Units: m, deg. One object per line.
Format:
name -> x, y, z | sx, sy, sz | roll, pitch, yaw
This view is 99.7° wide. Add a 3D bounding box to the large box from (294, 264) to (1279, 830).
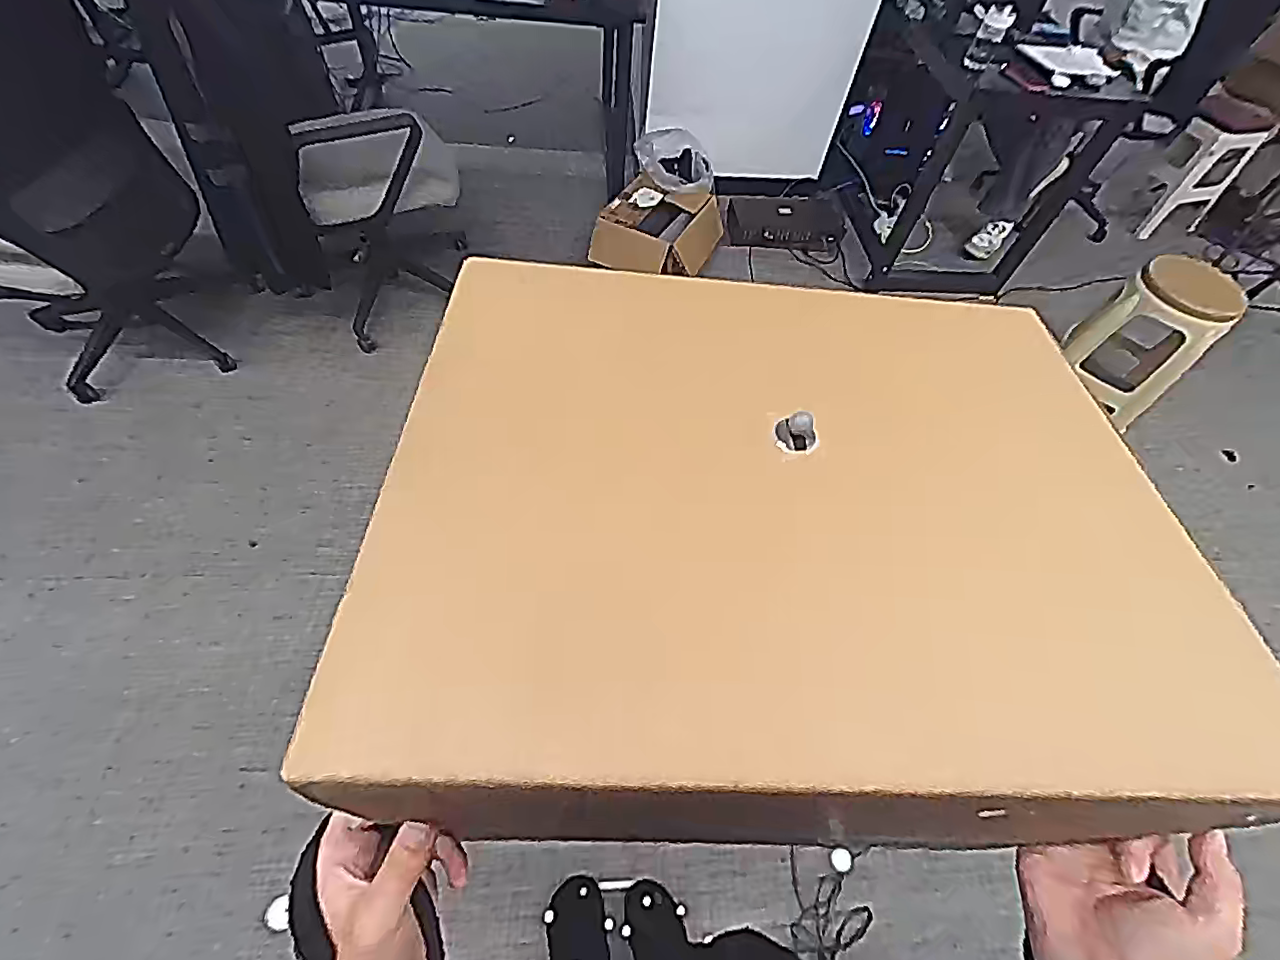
large box -> 0.063, 0.067, 0.404 | 0.408, 0.320, 0.320 | 2, 55, -4
